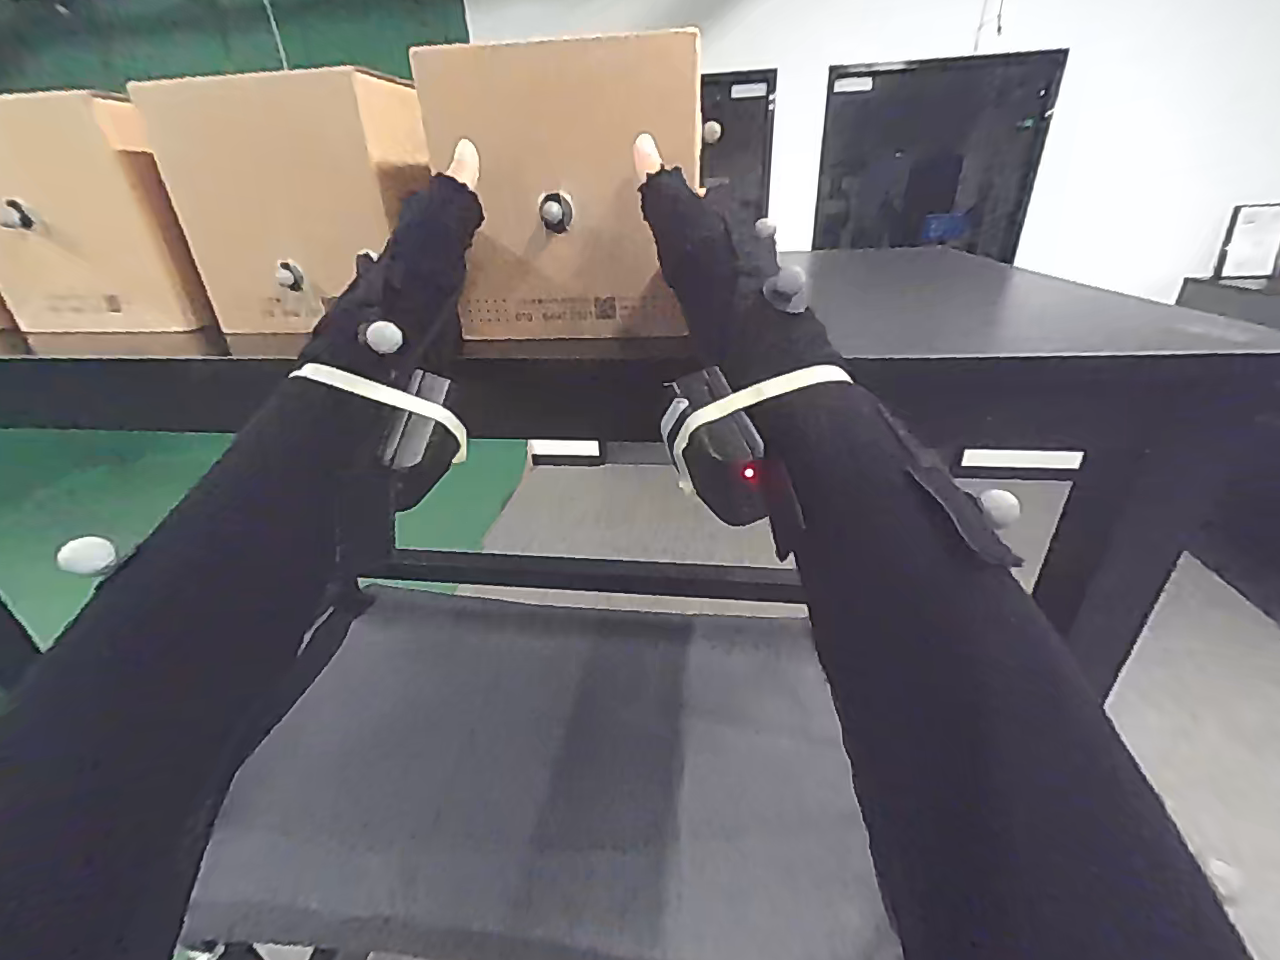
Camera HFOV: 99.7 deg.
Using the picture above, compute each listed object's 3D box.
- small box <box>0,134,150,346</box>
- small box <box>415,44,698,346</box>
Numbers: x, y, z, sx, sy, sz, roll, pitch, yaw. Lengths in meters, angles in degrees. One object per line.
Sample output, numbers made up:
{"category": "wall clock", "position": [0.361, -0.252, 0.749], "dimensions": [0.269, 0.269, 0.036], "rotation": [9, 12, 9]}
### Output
{"category": "small box", "position": [-0.639, -0.234, 0.525], "dimensions": [0.168, 0.176, 0.179], "rotation": [1, 29, 7]}
{"category": "small box", "position": [-0.040, -0.203, 0.415], "dimensions": [0.168, 0.176, 0.179], "rotation": [1, 27, 5]}
